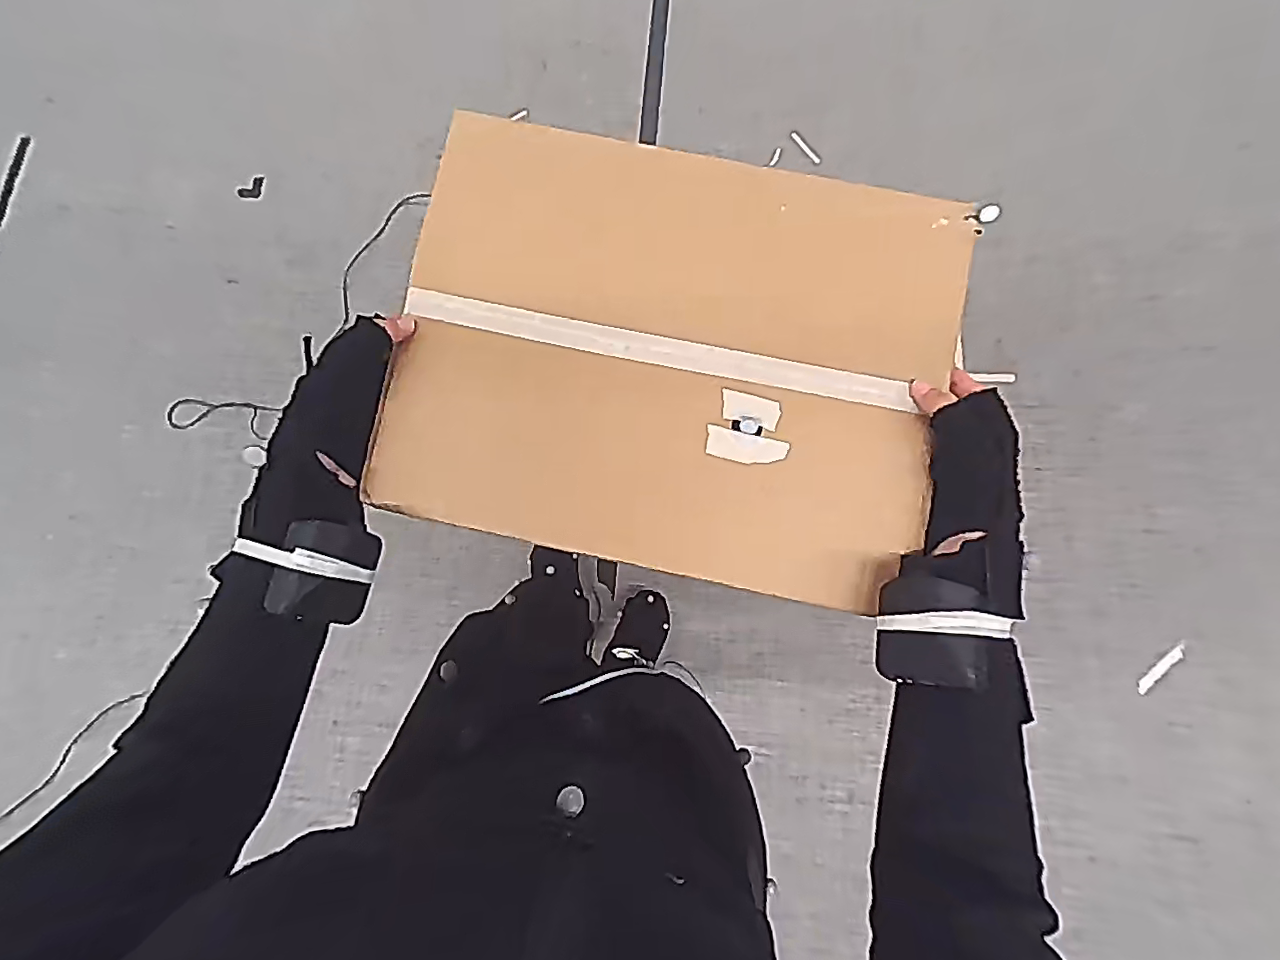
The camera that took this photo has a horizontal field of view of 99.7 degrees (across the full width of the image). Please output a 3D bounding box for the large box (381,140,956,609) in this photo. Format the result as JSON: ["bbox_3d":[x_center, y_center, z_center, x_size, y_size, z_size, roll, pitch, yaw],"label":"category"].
[{"bbox_3d":[0.025,-0.076,0.562,0.408,0.320,0.320,12,86,2],"label":"large box"}]
